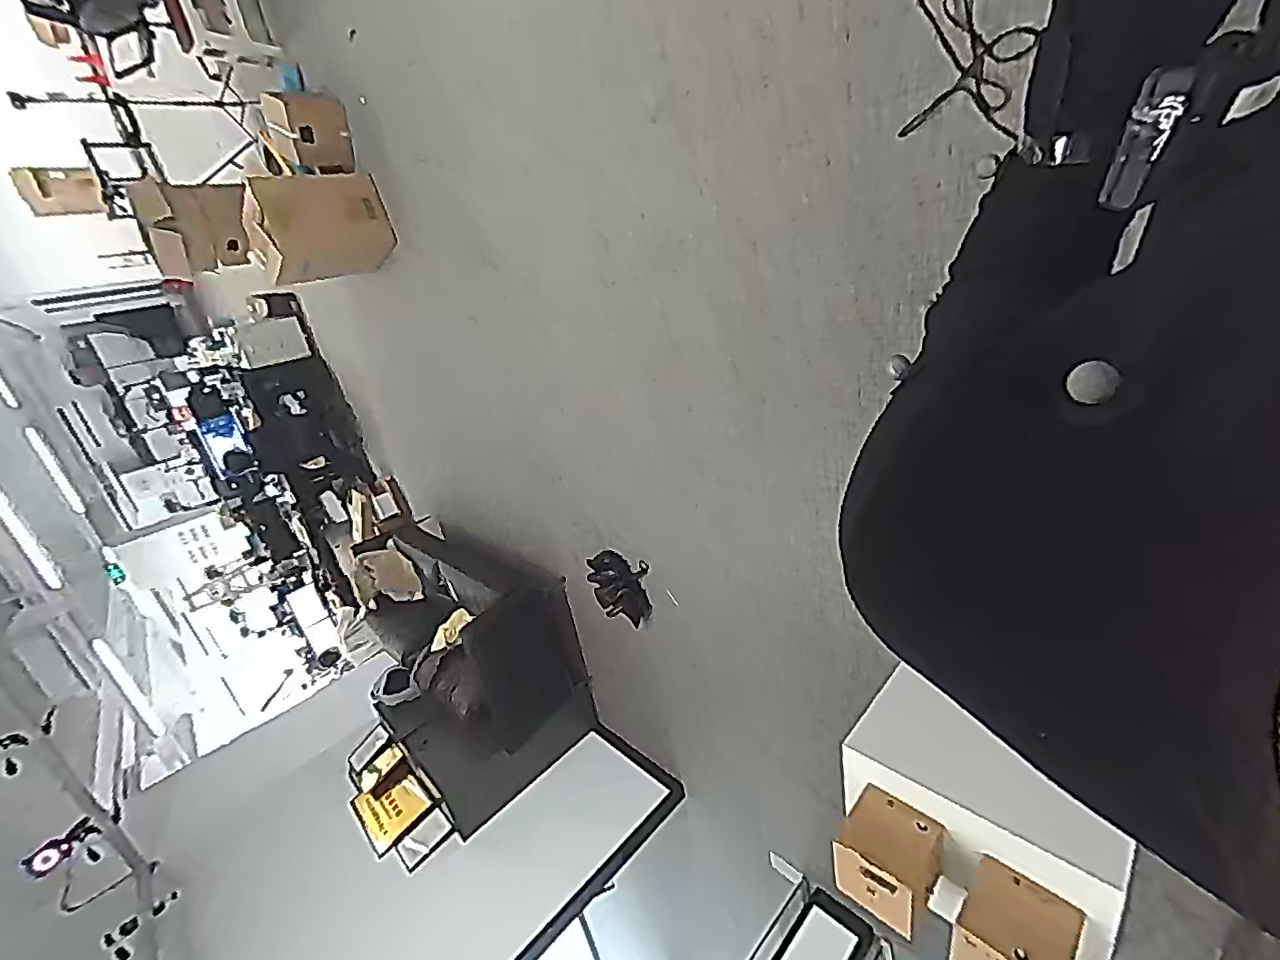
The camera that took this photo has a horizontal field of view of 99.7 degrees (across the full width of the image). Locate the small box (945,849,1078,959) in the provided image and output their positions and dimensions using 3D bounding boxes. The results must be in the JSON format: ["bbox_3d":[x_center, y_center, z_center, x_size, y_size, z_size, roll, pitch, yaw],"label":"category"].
[{"bbox_3d":[0.698,0.858,1.018,0.168,0.176,0.179,15,125,44],"label":"small box"}]

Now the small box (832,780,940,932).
[{"bbox_3d":[0.536,0.806,1.179,0.168,0.176,0.179,14,124,45],"label":"small box"}]
